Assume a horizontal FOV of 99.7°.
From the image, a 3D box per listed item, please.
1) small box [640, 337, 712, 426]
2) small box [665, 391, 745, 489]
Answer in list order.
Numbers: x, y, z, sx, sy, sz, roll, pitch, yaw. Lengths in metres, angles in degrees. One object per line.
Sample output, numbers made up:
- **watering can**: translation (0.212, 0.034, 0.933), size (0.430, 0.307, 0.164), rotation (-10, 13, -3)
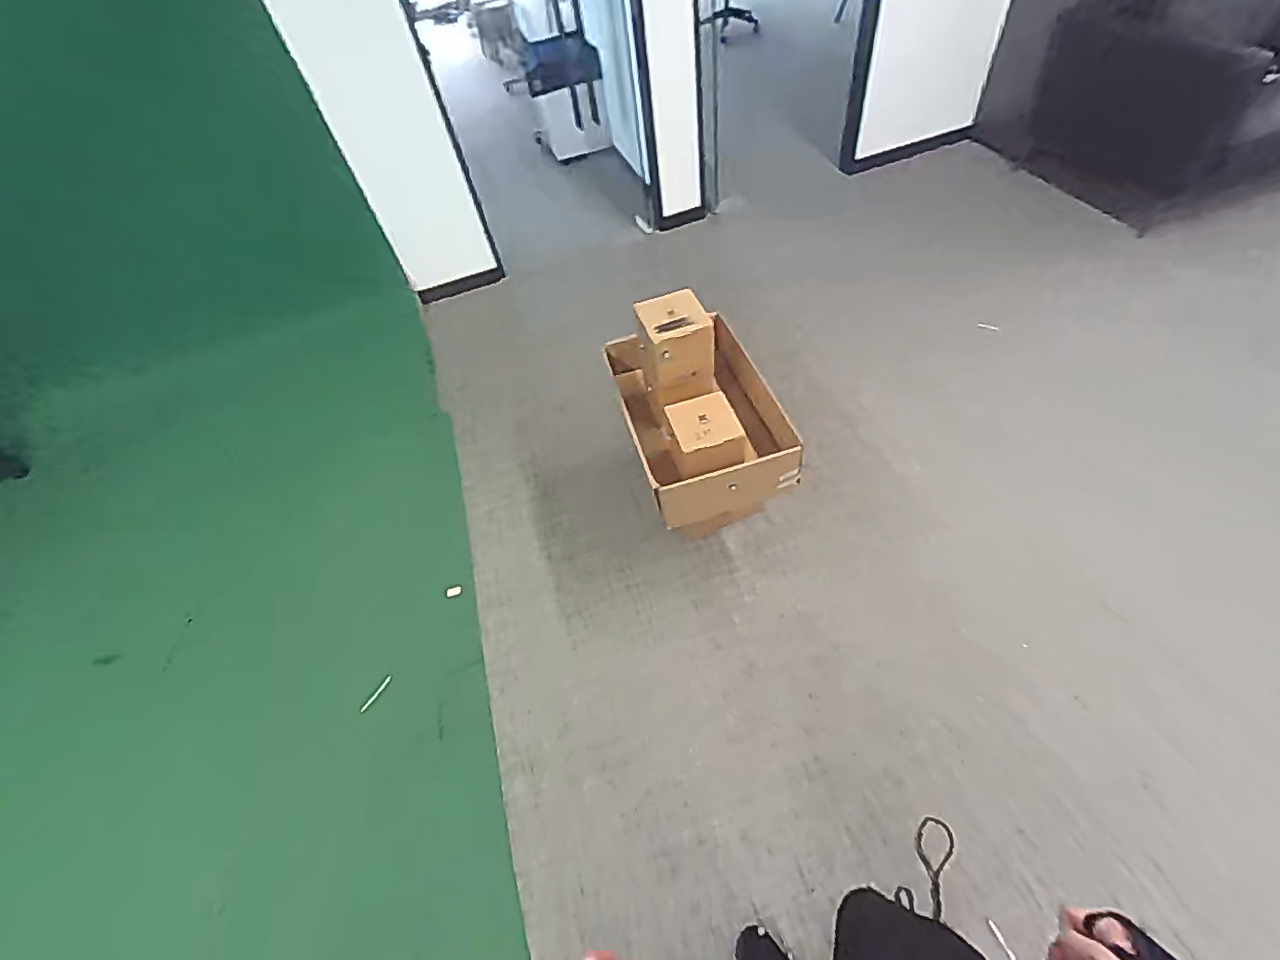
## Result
- **small box**: translation (0.107, -0.292, 1.613), size (0.168, 0.176, 0.179), rotation (-17, 54, -4)
- **small box**: translation (0.172, -0.106, 1.452), size (0.168, 0.176, 0.179), rotation (-17, 51, -3)
